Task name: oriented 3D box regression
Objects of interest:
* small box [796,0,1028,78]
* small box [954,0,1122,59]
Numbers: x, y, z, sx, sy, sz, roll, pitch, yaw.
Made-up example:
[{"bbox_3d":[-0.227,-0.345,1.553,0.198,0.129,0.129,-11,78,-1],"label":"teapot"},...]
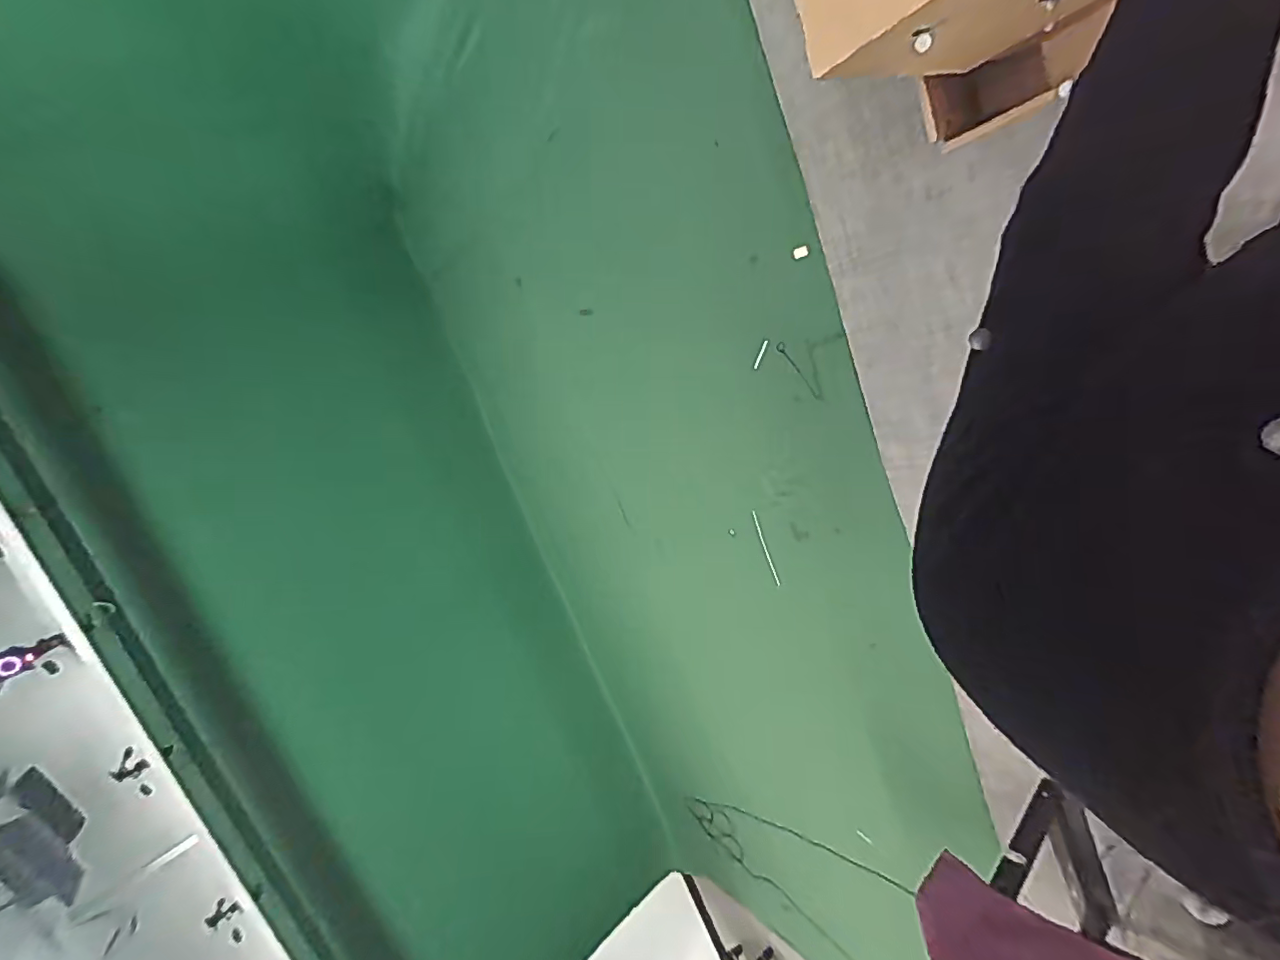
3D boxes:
[{"bbox_3d":[0.251,-0.486,0.470,0.179,0.176,0.168,2,117,54],"label":"small box"},{"bbox_3d":[0.488,-0.635,0.639,0.179,0.176,0.168,0,114,54],"label":"small box"}]
